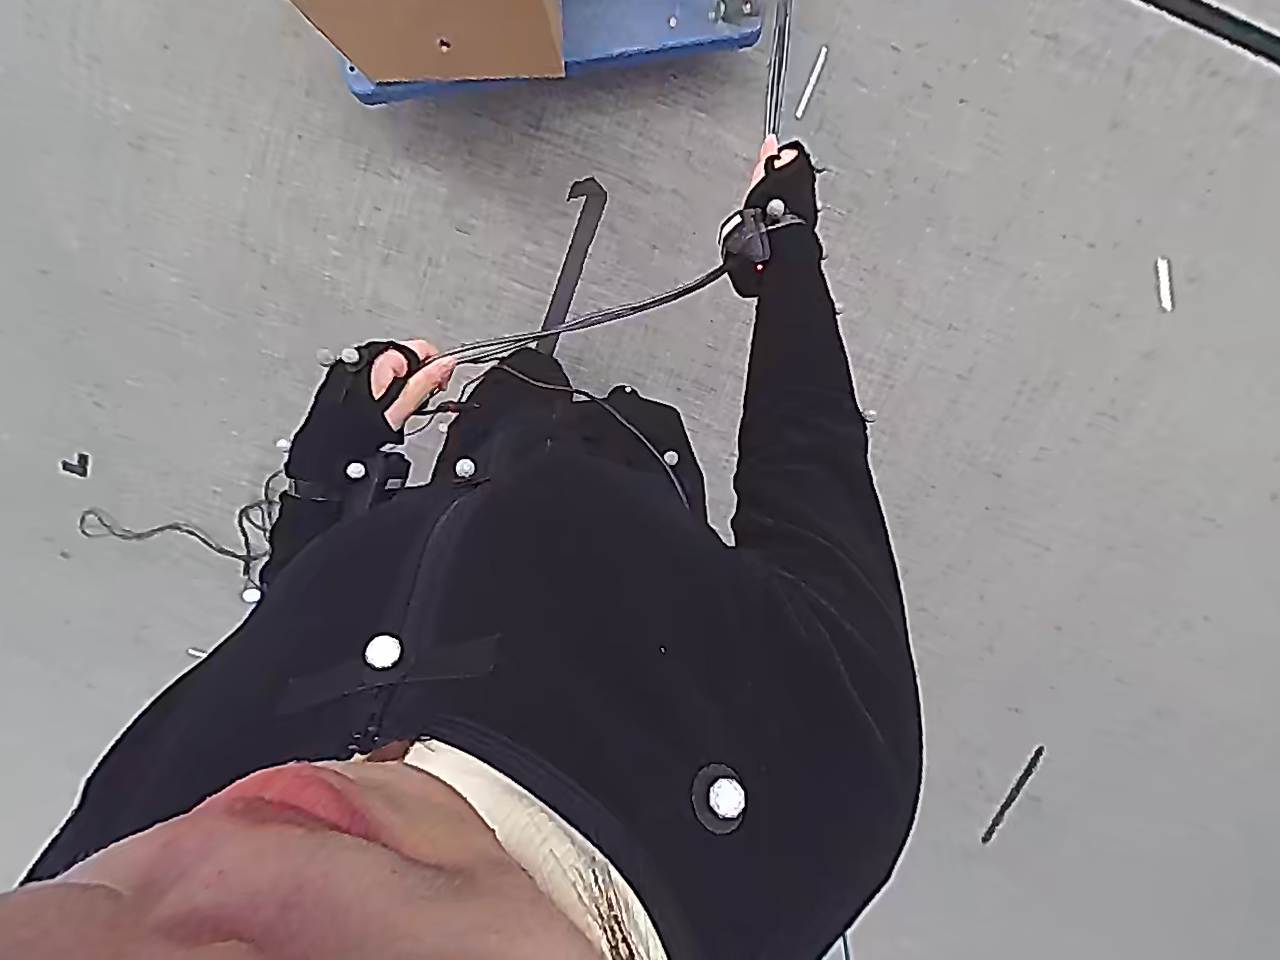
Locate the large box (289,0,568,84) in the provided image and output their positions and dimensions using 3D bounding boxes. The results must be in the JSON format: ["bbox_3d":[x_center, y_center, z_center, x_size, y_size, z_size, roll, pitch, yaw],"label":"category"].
[{"bbox_3d":[-0.353,-0.932,0.929,0.408,0.320,0.320,-1,103,2],"label":"large box"}]
